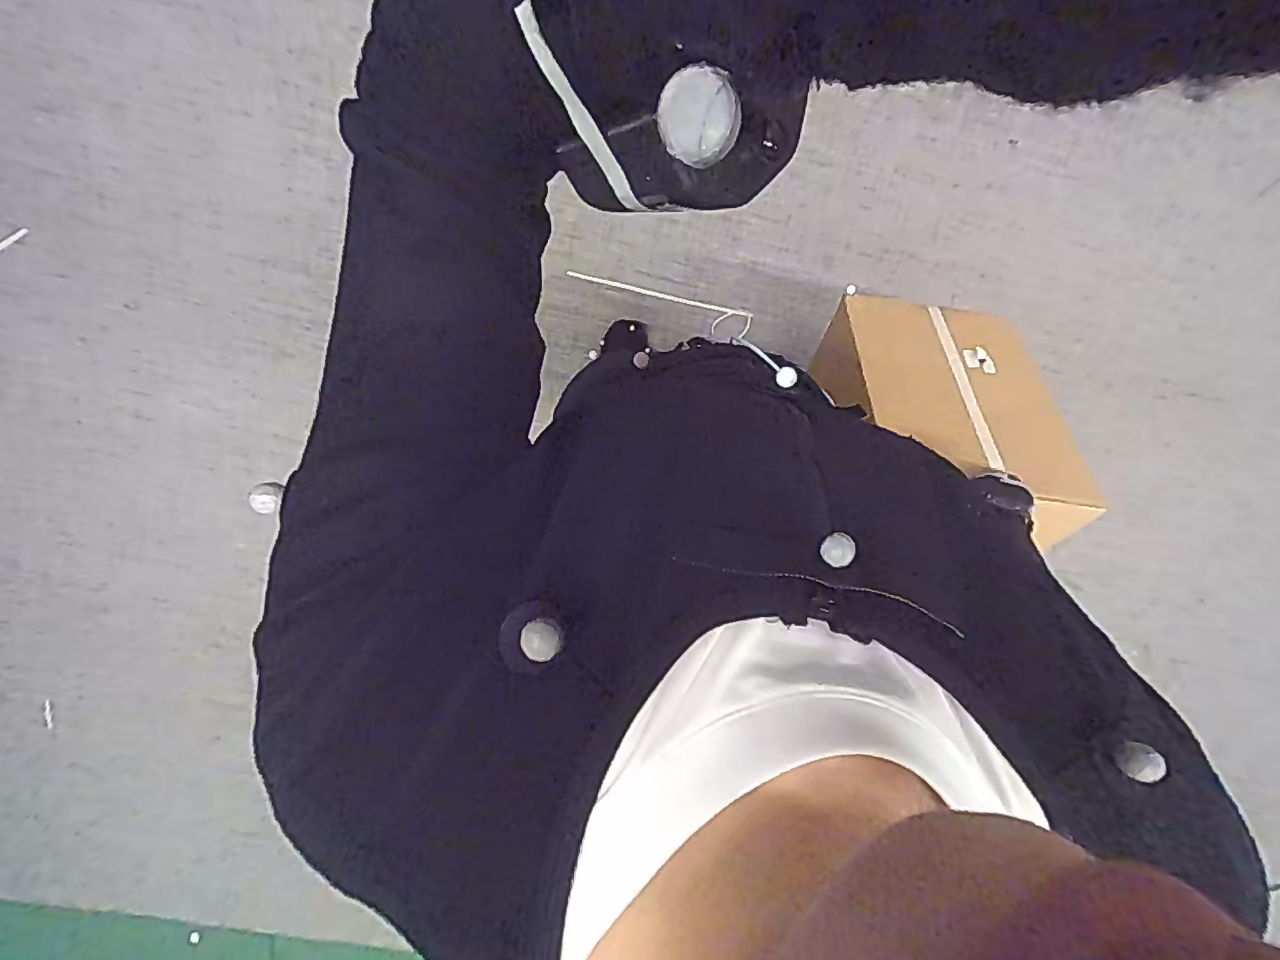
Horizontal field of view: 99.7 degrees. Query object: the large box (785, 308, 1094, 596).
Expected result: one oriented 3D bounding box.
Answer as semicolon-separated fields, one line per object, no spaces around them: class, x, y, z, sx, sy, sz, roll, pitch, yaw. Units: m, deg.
large box;0.474;-0.044;0.973;0.320;0.408;0.320;8;143;-4
